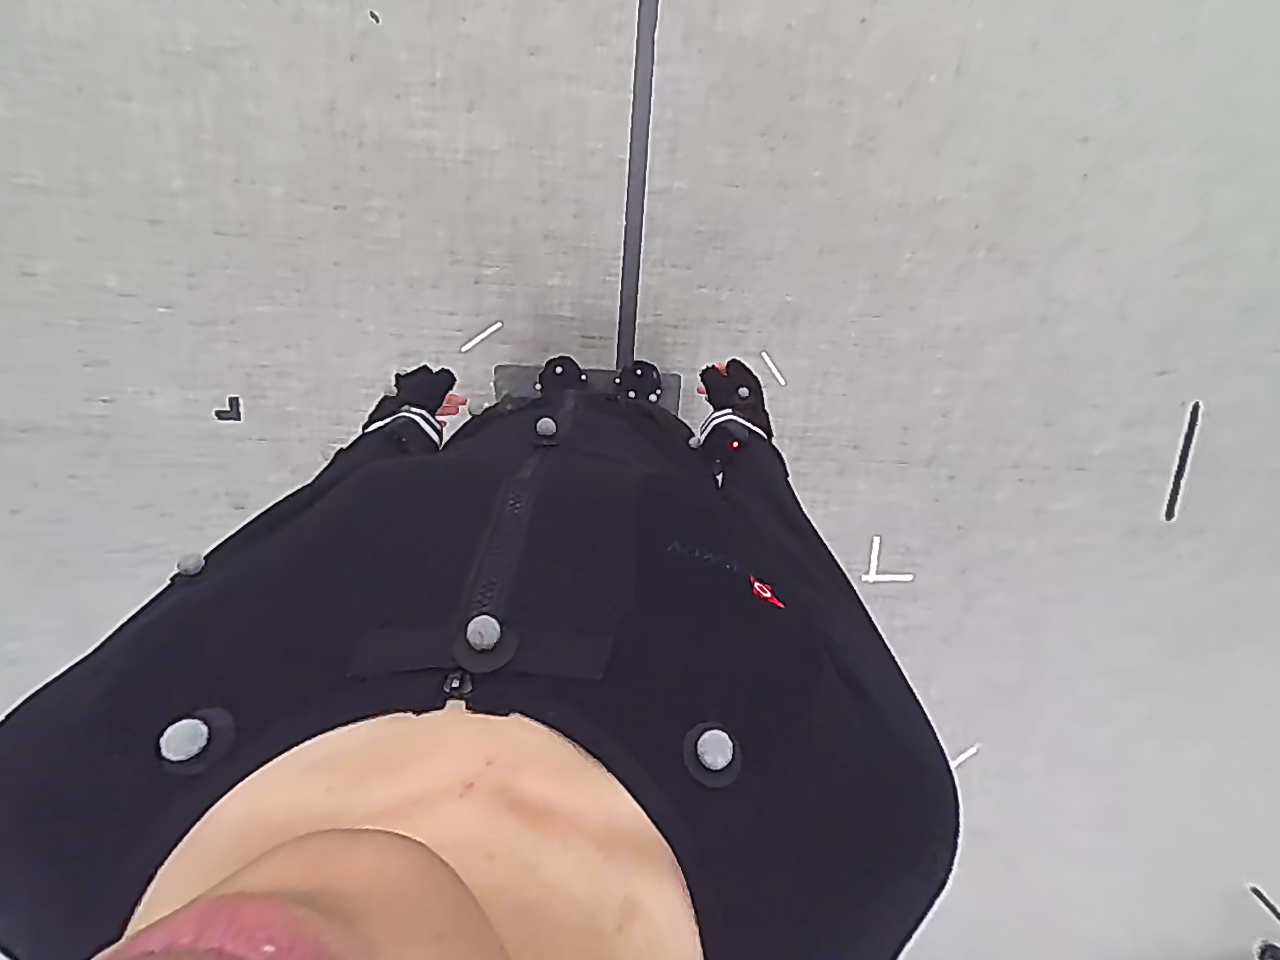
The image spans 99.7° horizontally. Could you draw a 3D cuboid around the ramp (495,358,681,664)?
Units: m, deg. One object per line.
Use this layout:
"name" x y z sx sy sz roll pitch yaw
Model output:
"ramp" -0.158 0.149 1.601 0.509 0.206 0.991 0 103 -5
